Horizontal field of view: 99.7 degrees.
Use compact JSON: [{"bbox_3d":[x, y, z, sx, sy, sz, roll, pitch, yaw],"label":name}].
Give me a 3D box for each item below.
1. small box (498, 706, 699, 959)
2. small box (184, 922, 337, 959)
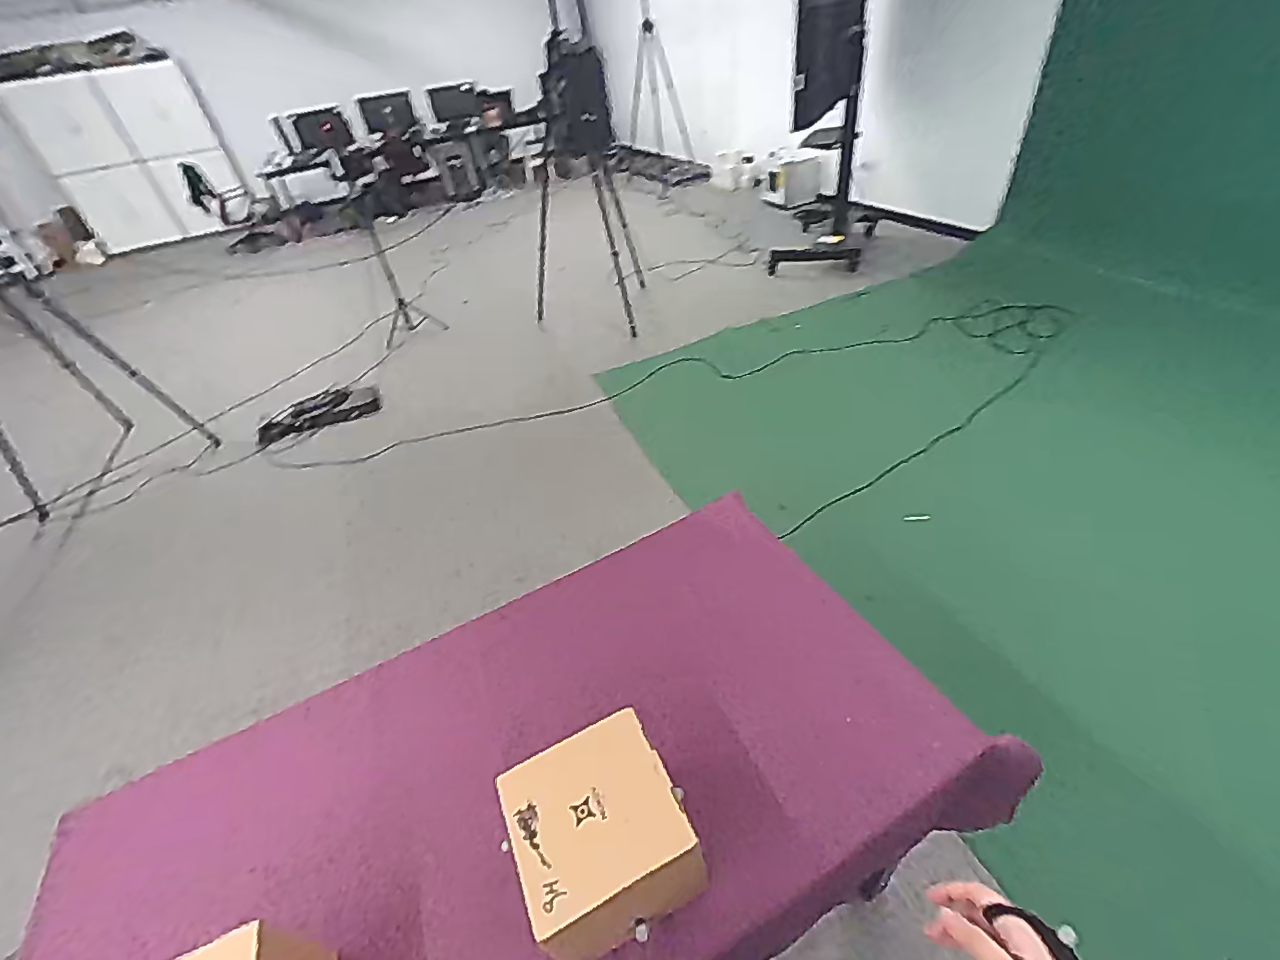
[{"bbox_3d":[-0.044,0.410,0.634,0.179,0.176,0.168,-22,42,-15],"label":"small box"},{"bbox_3d":[-0.412,0.576,0.513,0.179,0.176,0.168,-21,42,-15],"label":"small box"}]
